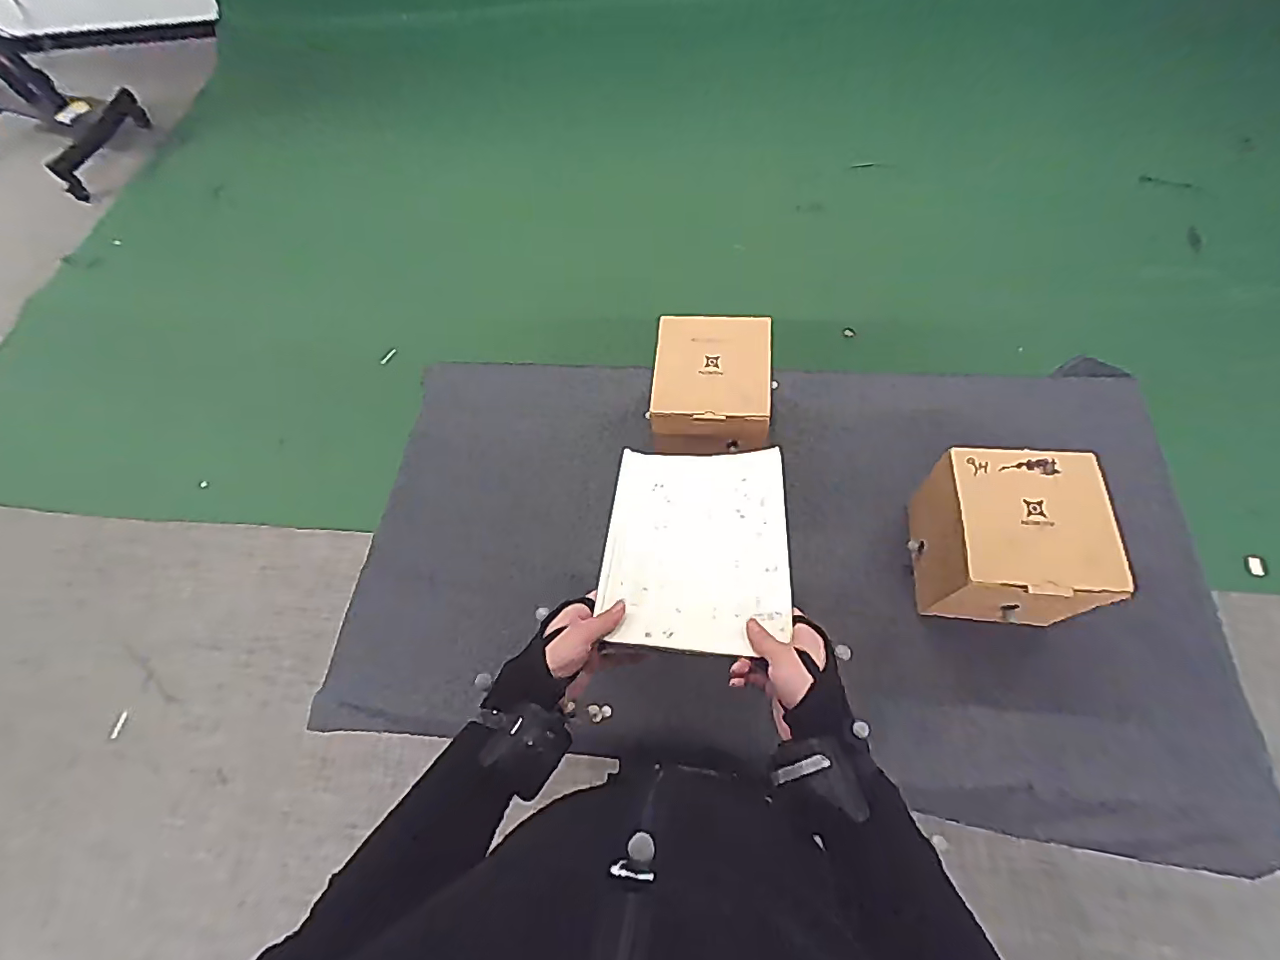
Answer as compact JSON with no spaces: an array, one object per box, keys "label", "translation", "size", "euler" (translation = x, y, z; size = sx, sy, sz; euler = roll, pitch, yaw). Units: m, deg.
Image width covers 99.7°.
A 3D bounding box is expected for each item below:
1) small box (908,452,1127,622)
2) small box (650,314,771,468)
[{"label":"small box","translation":[0.465,0.080,0.701],"size":[0.168,0.176,0.179],"euler":[3,66,8]},{"label":"small box","translation":[0.109,-0.130,0.828],"size":[0.168,0.176,0.179],"euler":[2,64,7]}]
